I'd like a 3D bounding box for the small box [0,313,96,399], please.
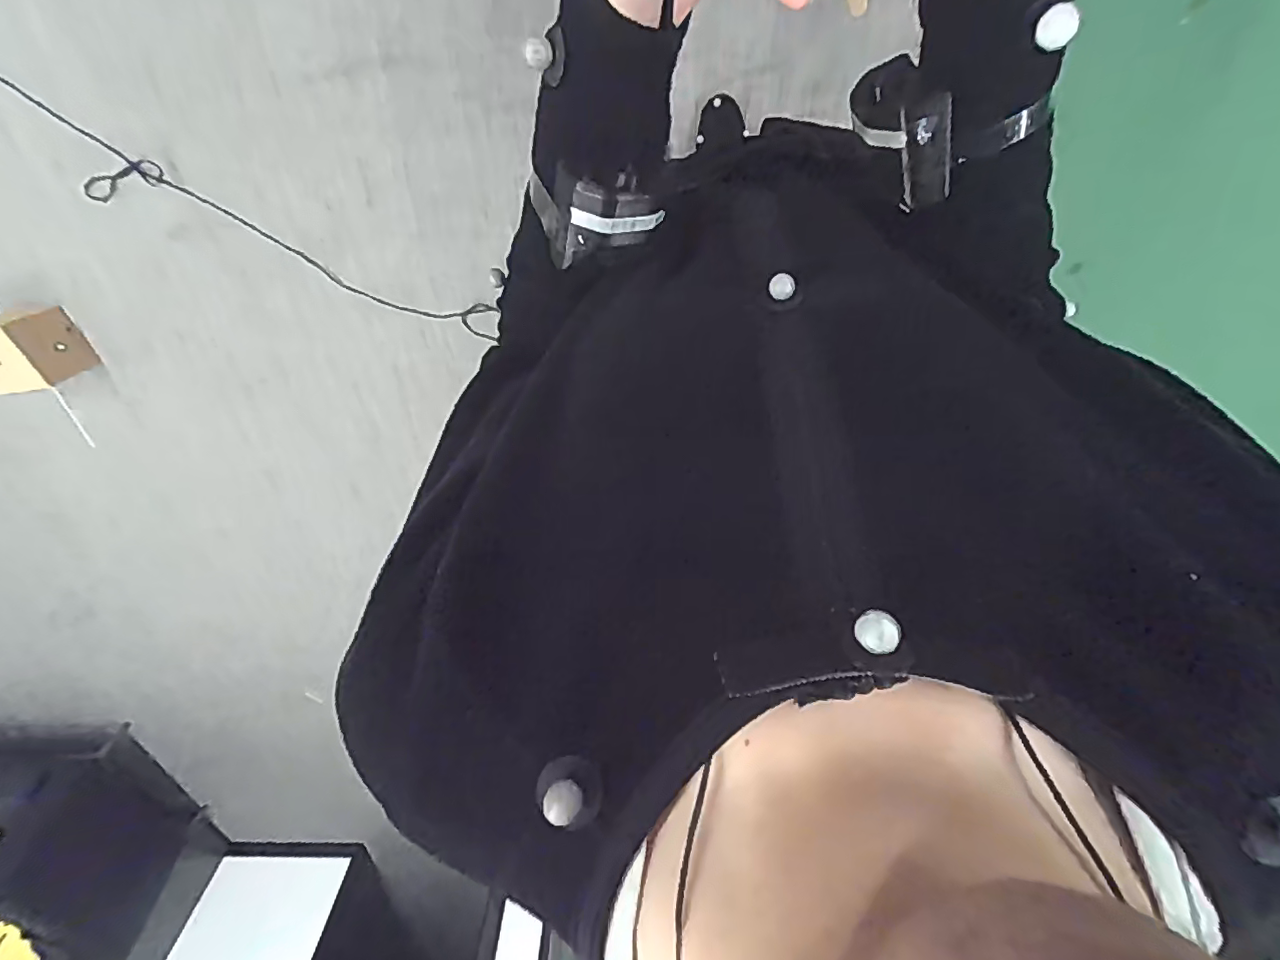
[{"bbox_3d":[-1.603,-0.329,1.419,0.179,0.176,0.168,-6,124,6],"label":"small box"}]
